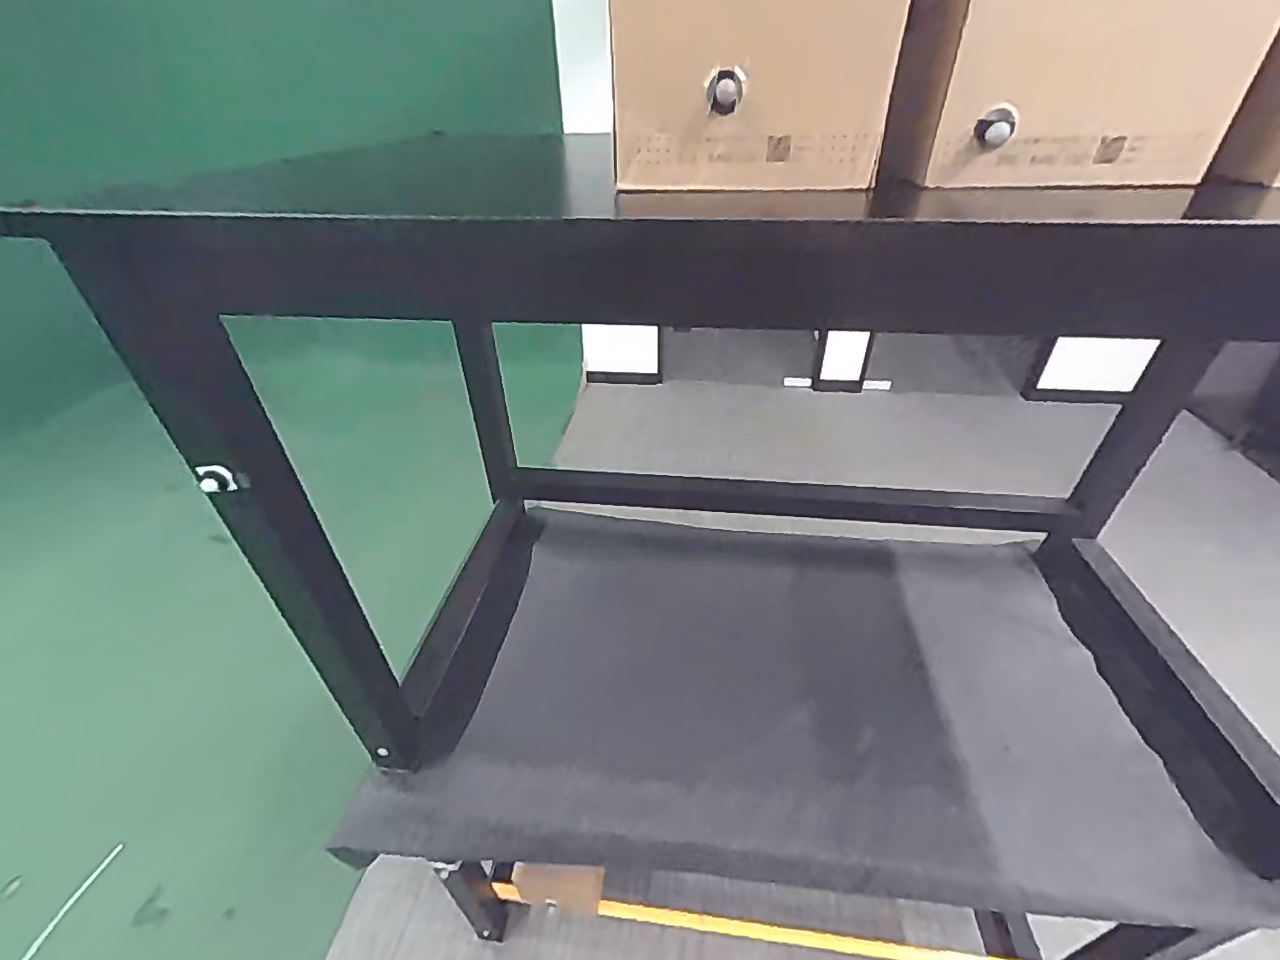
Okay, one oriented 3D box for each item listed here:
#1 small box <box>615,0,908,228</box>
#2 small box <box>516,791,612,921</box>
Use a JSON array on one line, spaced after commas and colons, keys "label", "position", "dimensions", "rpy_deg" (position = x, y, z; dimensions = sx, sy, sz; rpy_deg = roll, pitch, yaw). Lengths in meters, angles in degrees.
[{"label": "small box", "position": [0.073, -0.289, 0.384], "dimensions": [0.168, 0.176, 0.179], "rpy_deg": [3, 36, 5]}, {"label": "small box", "position": [-0.154, 0.809, 1.166], "dimensions": [0.168, 0.176, 0.179], "rpy_deg": [3, 38, 6]}]
